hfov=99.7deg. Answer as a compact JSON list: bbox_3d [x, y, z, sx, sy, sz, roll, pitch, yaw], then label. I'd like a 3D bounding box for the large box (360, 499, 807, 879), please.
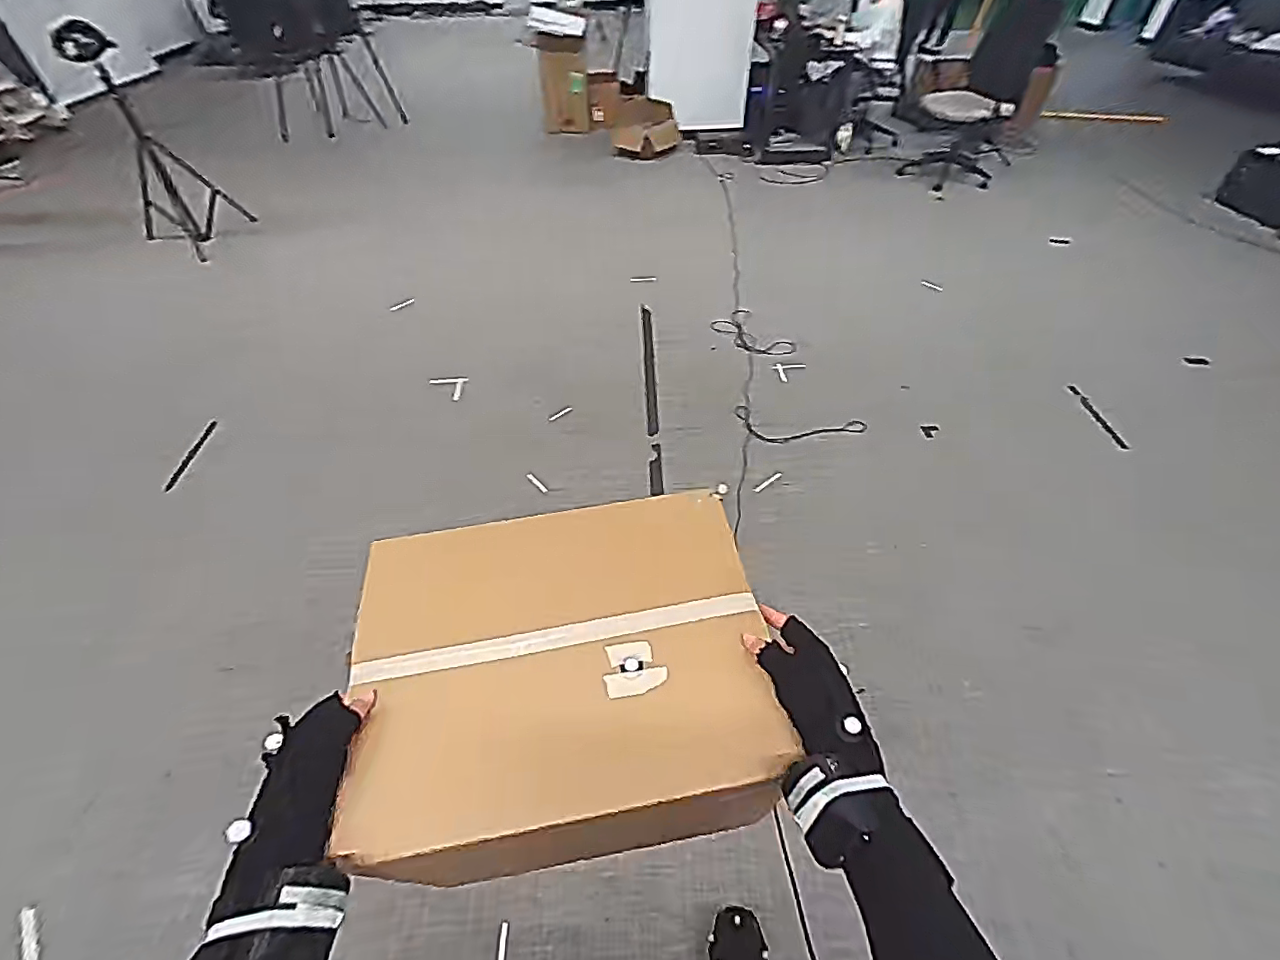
[{"bbox_3d":[-0.065,0.262,0.676,0.408,0.320,0.320,-8,52,-5],"label":"large box"}]
